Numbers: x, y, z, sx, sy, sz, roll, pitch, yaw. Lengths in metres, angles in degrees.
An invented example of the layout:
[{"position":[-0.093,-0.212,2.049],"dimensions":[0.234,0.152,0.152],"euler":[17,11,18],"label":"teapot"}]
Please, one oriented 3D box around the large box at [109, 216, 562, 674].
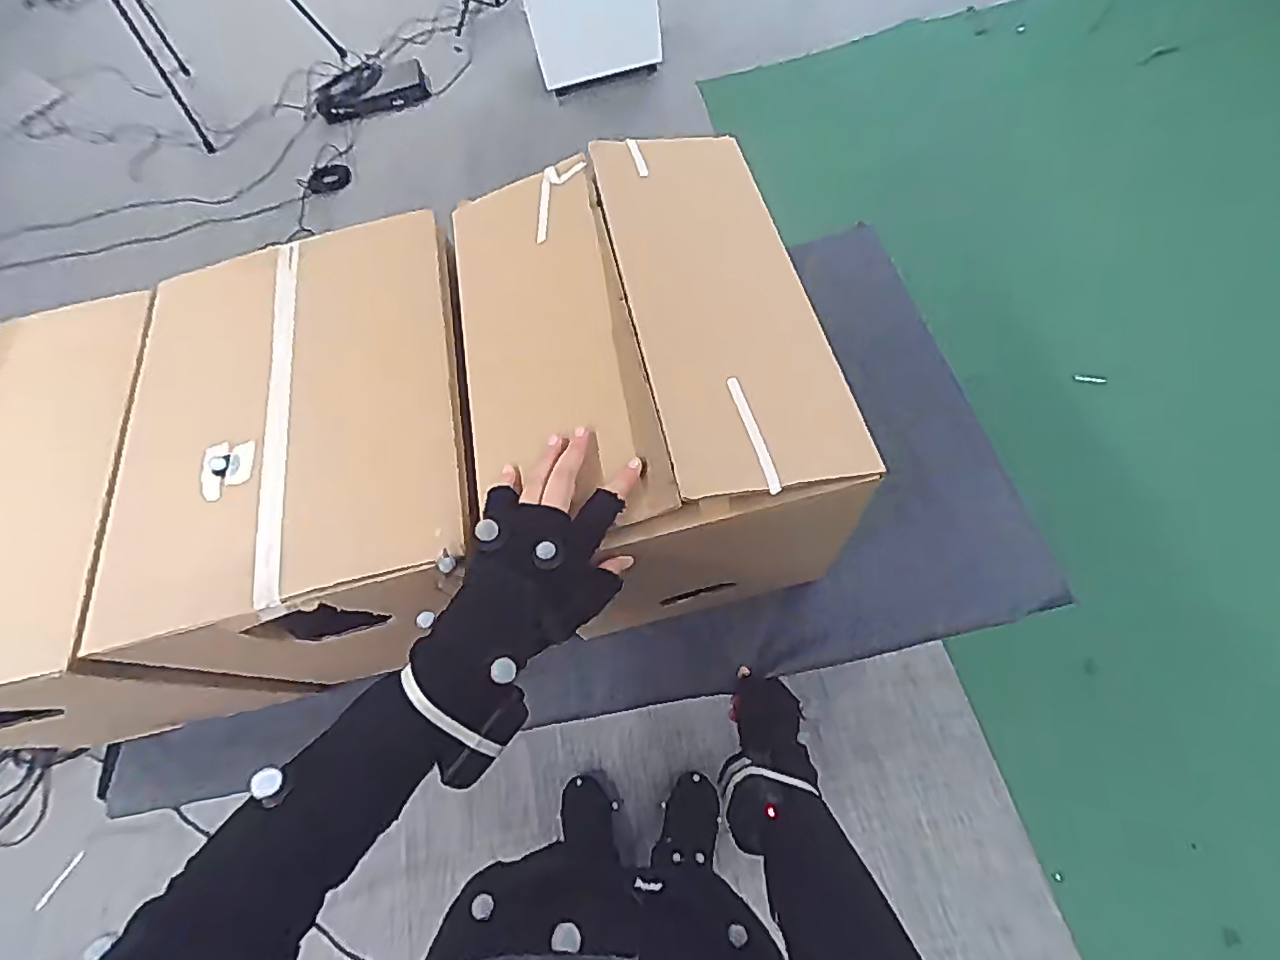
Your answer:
[{"position":[-0.304,-0.019,0.643],"dimensions":[0.320,0.320,0.408],"euler":[-15,65,1],"label":"large box"}]
